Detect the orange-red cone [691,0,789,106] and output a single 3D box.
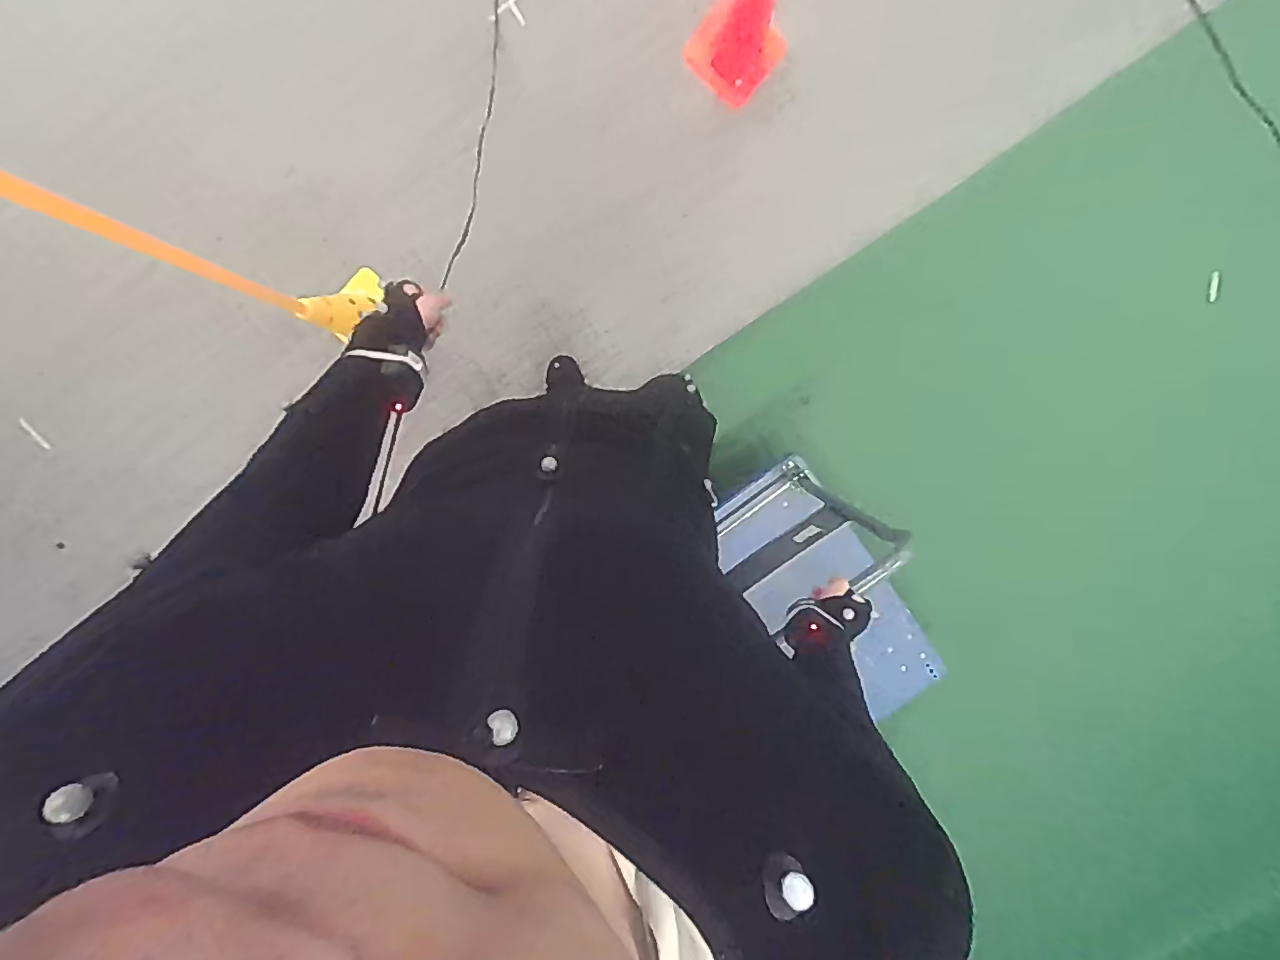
[{"bbox_3d":[0.265,-1.056,1.209,0.198,0.360,0.199,41,97,-12],"label":"orange-red cone"}]
